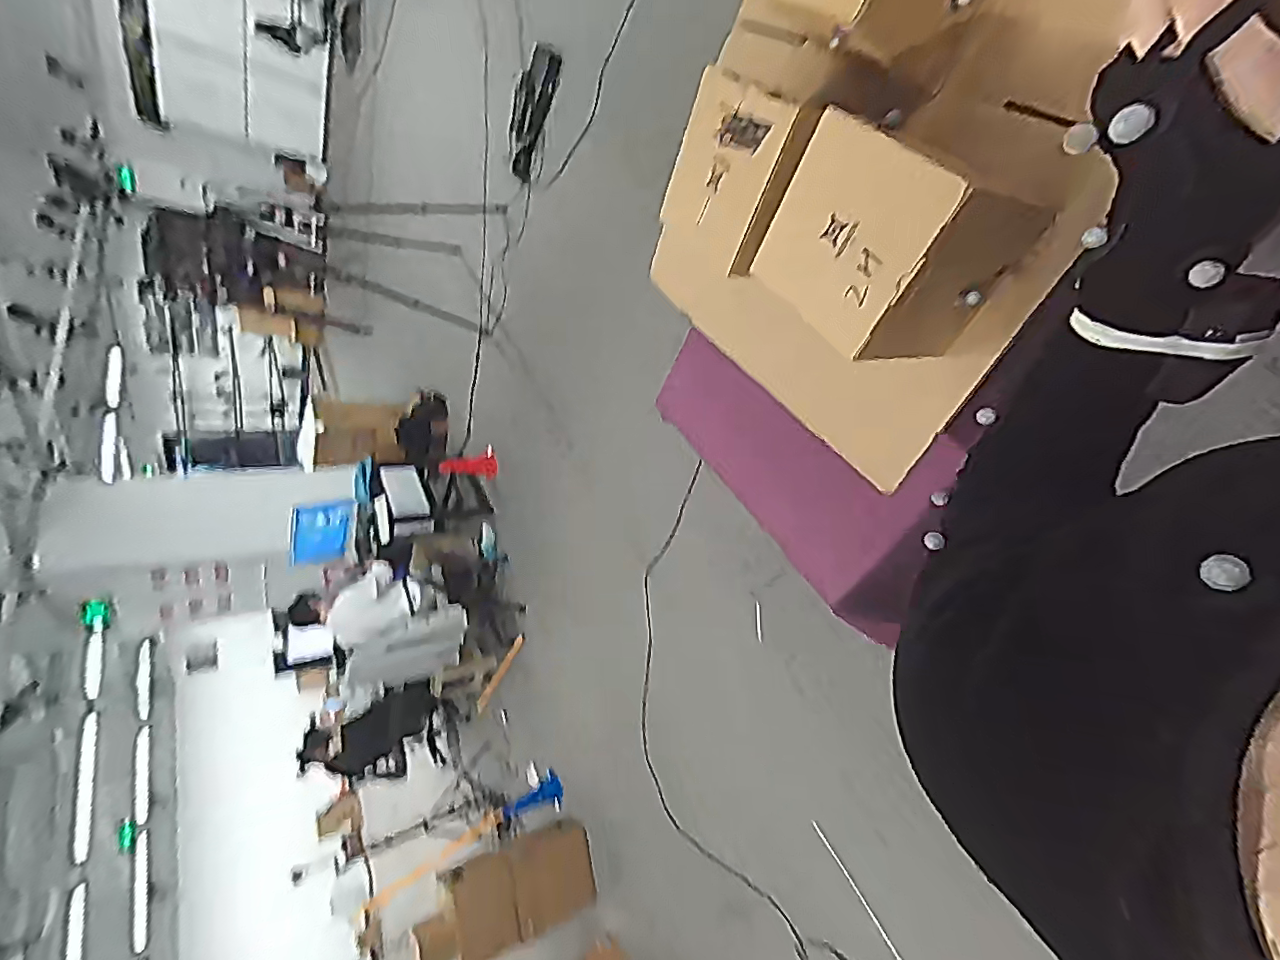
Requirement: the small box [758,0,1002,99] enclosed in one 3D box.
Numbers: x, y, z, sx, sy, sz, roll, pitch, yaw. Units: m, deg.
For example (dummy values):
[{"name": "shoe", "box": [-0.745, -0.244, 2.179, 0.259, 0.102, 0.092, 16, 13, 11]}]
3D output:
[{"name": "small box", "box": [0.259, -0.534, 0.559, 0.179, 0.176, 0.168, 55, 130, 33]}]
